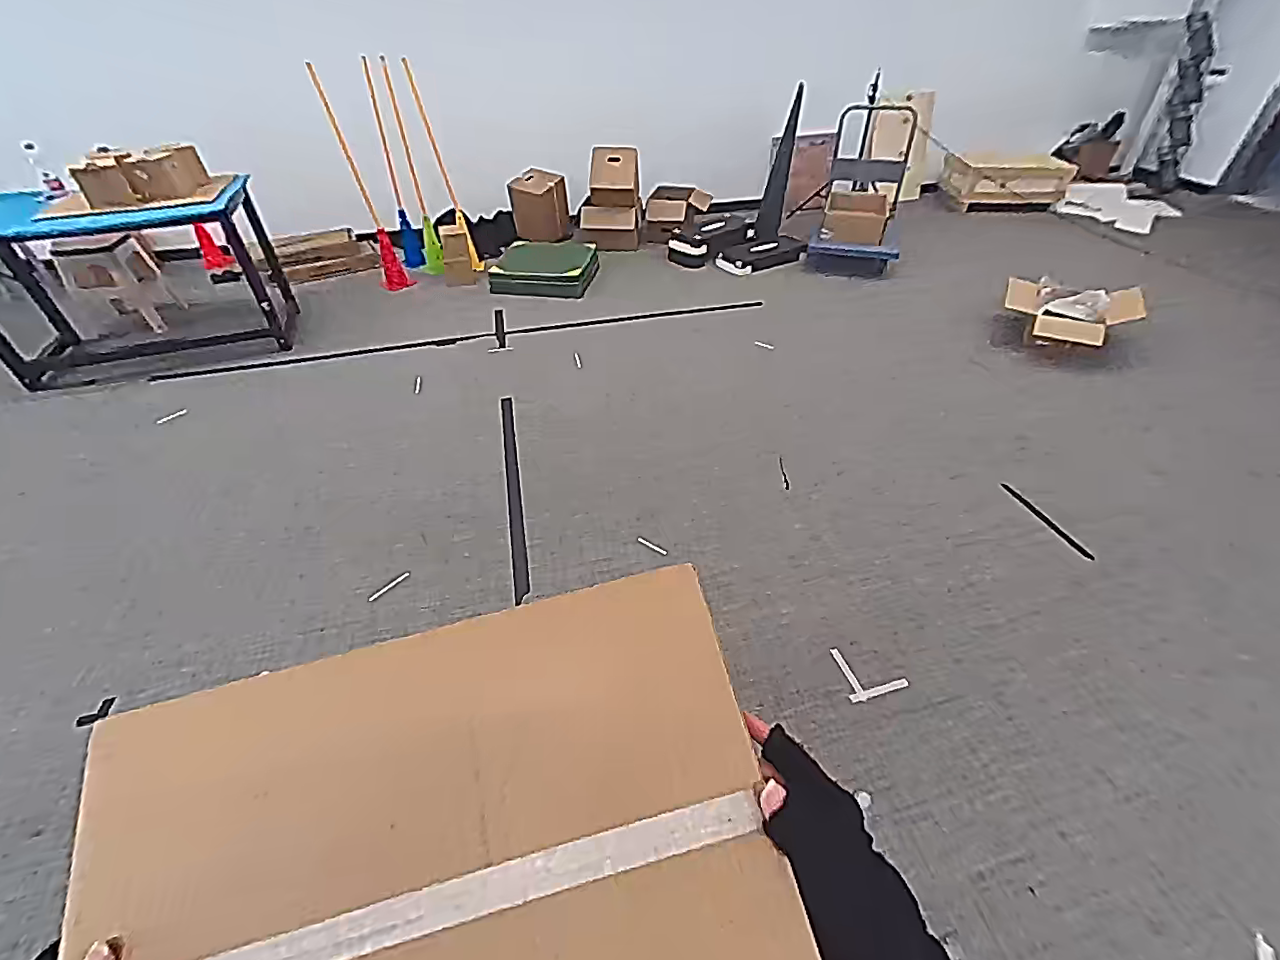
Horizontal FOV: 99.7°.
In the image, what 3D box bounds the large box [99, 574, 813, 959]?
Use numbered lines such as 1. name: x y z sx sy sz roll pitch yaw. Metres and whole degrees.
1. large box: -0.110 0.314 0.450 0.408 0.320 0.320 -14 66 -4
